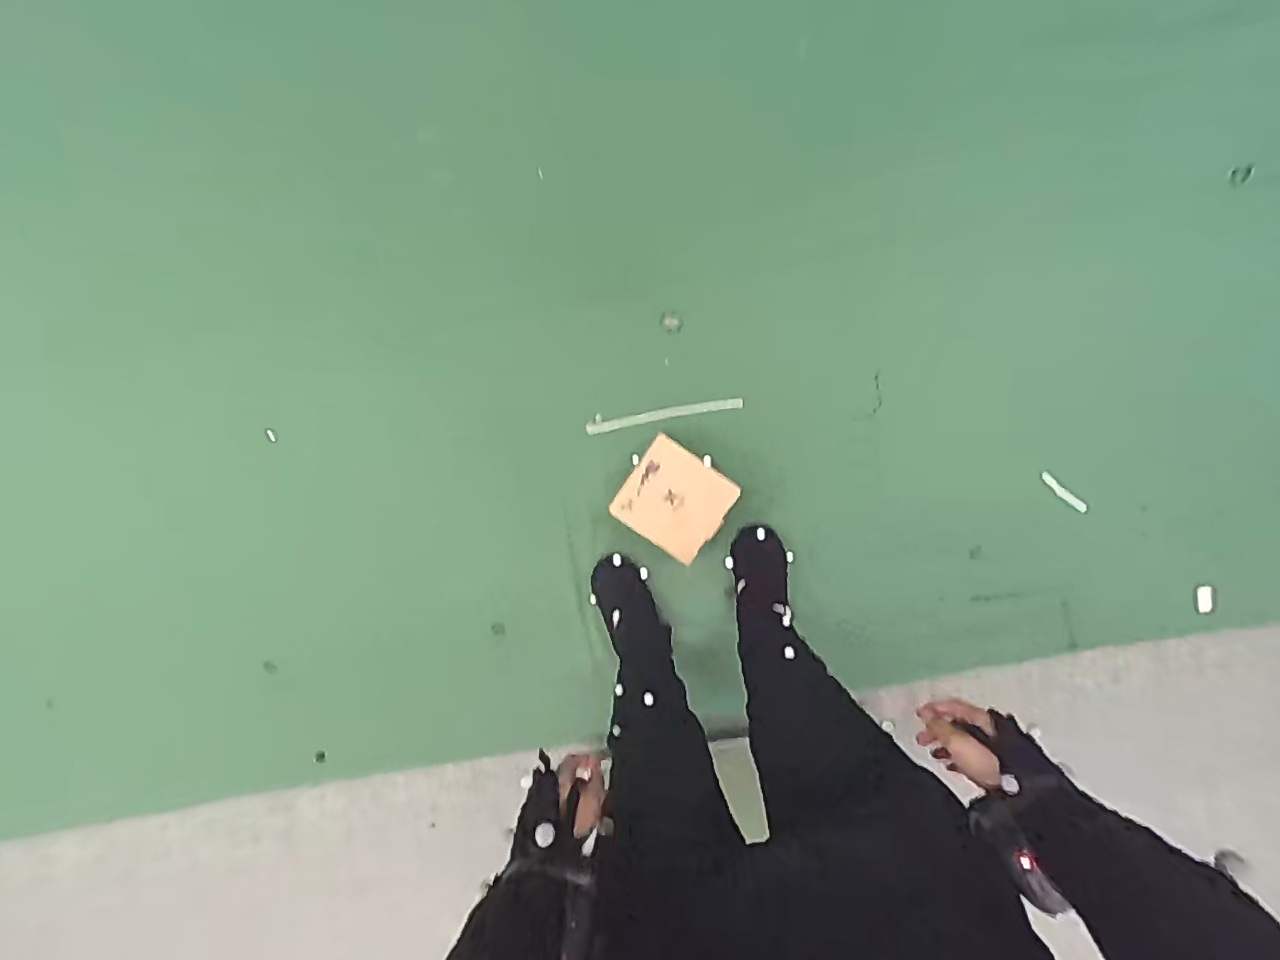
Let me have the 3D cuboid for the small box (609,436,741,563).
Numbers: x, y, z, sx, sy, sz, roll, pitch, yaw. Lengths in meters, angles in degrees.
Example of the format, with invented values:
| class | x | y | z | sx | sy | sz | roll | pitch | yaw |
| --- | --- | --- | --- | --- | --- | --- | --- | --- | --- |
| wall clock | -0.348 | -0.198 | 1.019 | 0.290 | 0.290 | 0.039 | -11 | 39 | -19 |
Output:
| class | x | y | z | sx | sy | sz | roll | pitch | yaw |
| --- | --- | --- | --- | --- | --- | --- | --- | --- | --- |
| small box | 0.061 | 0.025 | 1.023 | 0.179 | 0.176 | 0.168 | 35 | 95 | -3 |
